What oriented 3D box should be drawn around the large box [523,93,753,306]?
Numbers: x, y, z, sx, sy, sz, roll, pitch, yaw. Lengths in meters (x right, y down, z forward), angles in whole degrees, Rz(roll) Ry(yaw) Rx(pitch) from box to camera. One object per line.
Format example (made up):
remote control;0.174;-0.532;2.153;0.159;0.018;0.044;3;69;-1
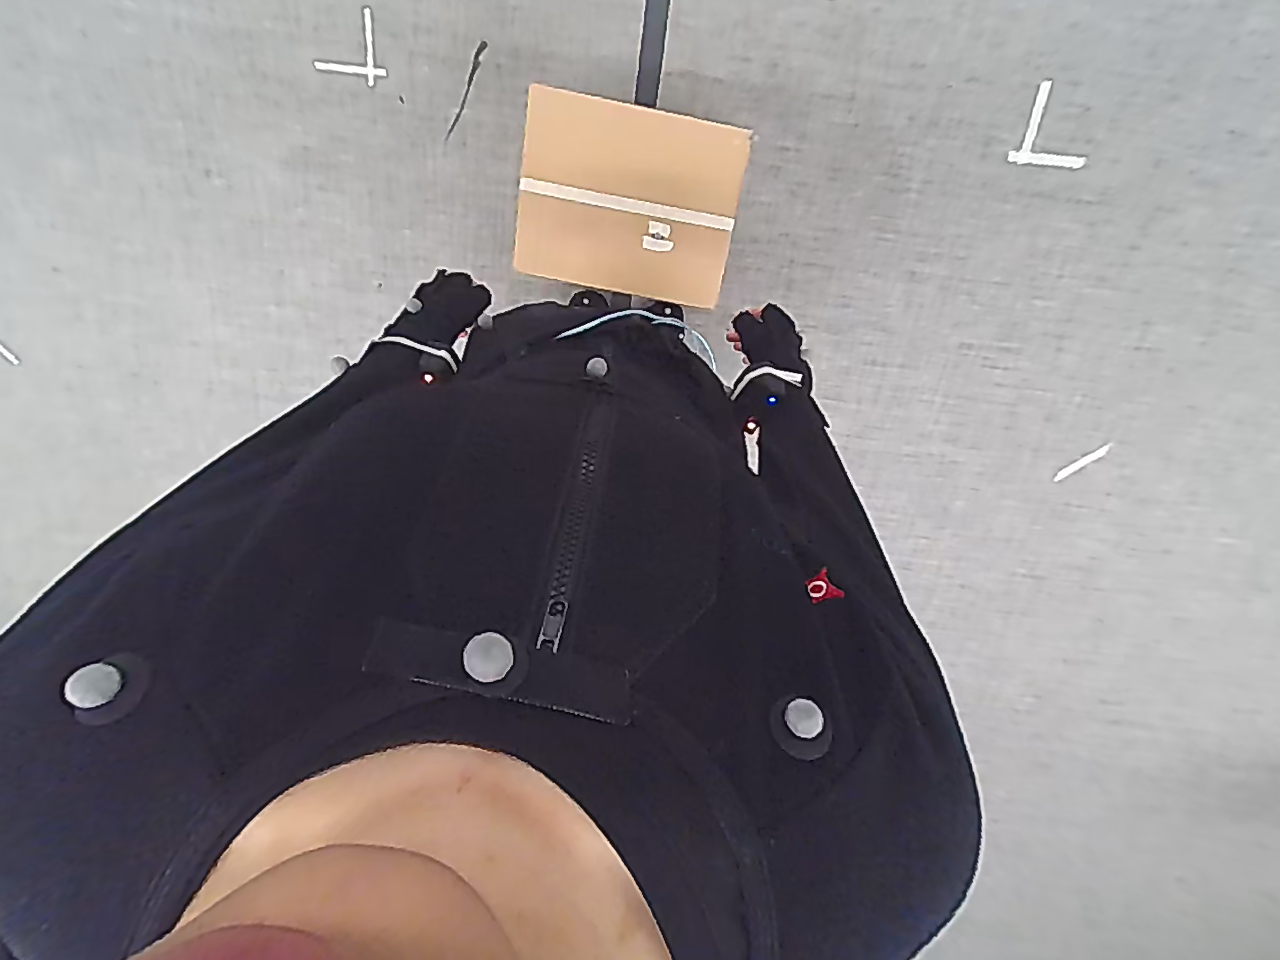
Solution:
large box;-0.016;-0.575;1.164;0.408;0.320;0.320;9;112;-4
